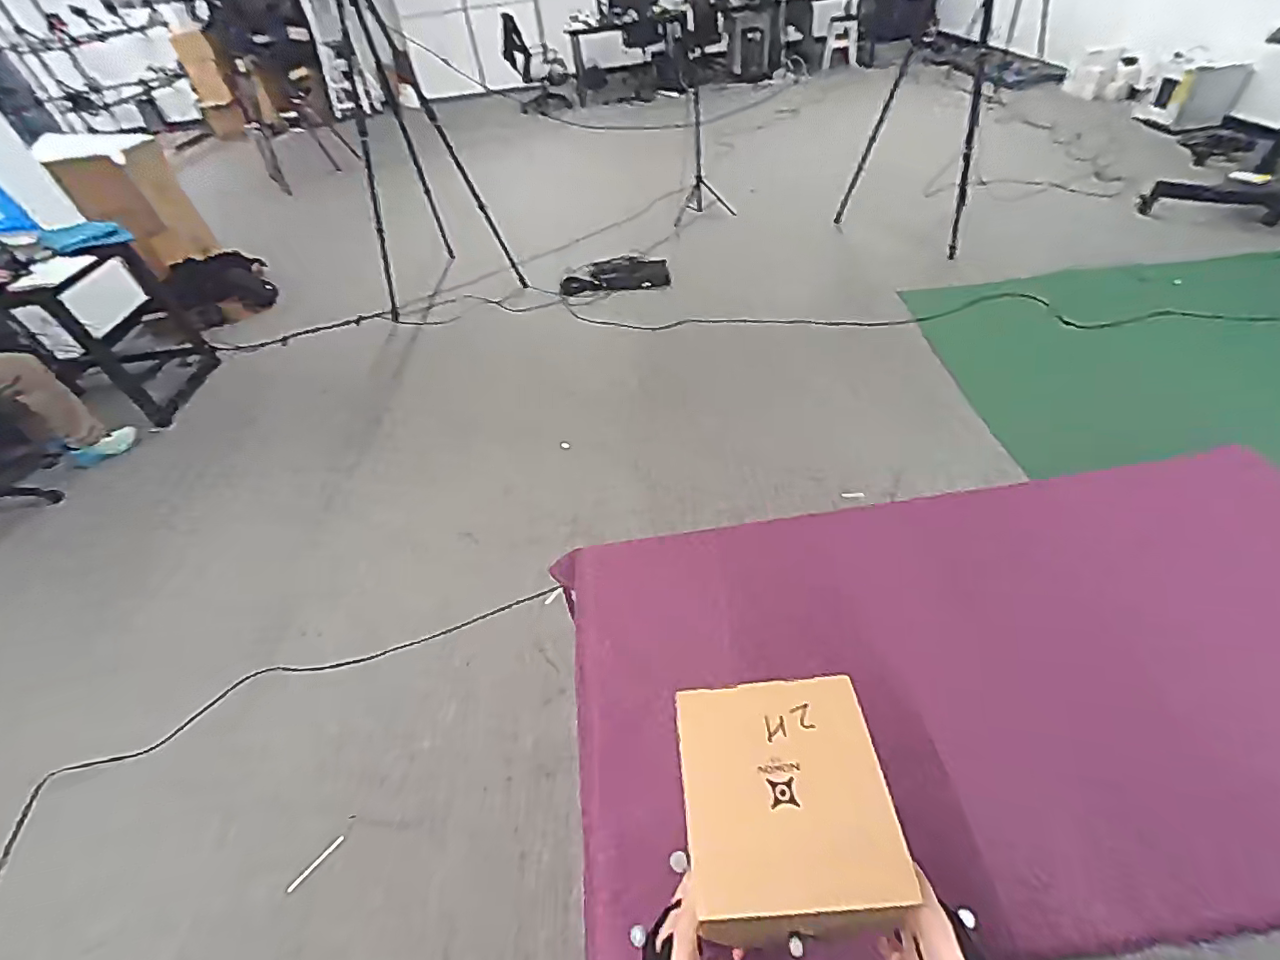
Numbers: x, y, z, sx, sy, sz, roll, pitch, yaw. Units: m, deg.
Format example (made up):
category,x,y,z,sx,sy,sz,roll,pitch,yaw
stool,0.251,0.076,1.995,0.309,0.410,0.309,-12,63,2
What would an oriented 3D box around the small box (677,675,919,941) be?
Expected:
category,x,y,z,sx,sy,sz,roll,pitch,yaw
small box,0.129,0.308,0.504,0.168,0.176,0.179,-7,43,4
